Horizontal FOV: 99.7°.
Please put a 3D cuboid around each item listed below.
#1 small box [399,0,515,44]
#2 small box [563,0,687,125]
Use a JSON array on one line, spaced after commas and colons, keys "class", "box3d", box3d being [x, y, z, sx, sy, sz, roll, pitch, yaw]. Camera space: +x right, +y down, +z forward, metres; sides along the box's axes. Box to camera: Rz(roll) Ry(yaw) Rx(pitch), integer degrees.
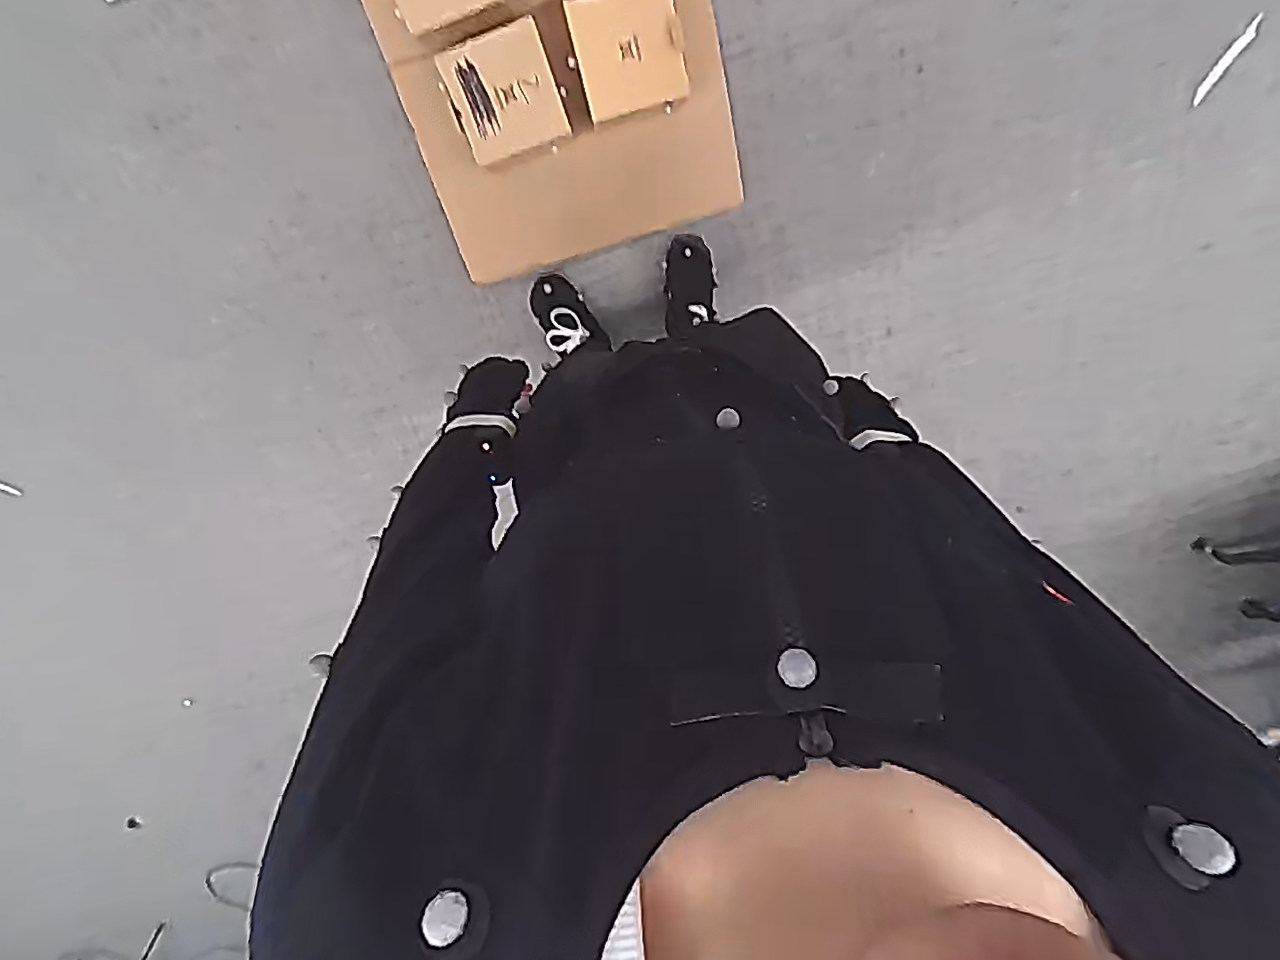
[{"class": "small box", "box3d": [-0.317, -0.849, 0.882, 0.168, 0.176, 0.179, -17, 117, 4]}, {"class": "small box", "box3d": [-0.026, -0.748, 0.951, 0.179, 0.176, 0.168, -14, 117, 1]}]
